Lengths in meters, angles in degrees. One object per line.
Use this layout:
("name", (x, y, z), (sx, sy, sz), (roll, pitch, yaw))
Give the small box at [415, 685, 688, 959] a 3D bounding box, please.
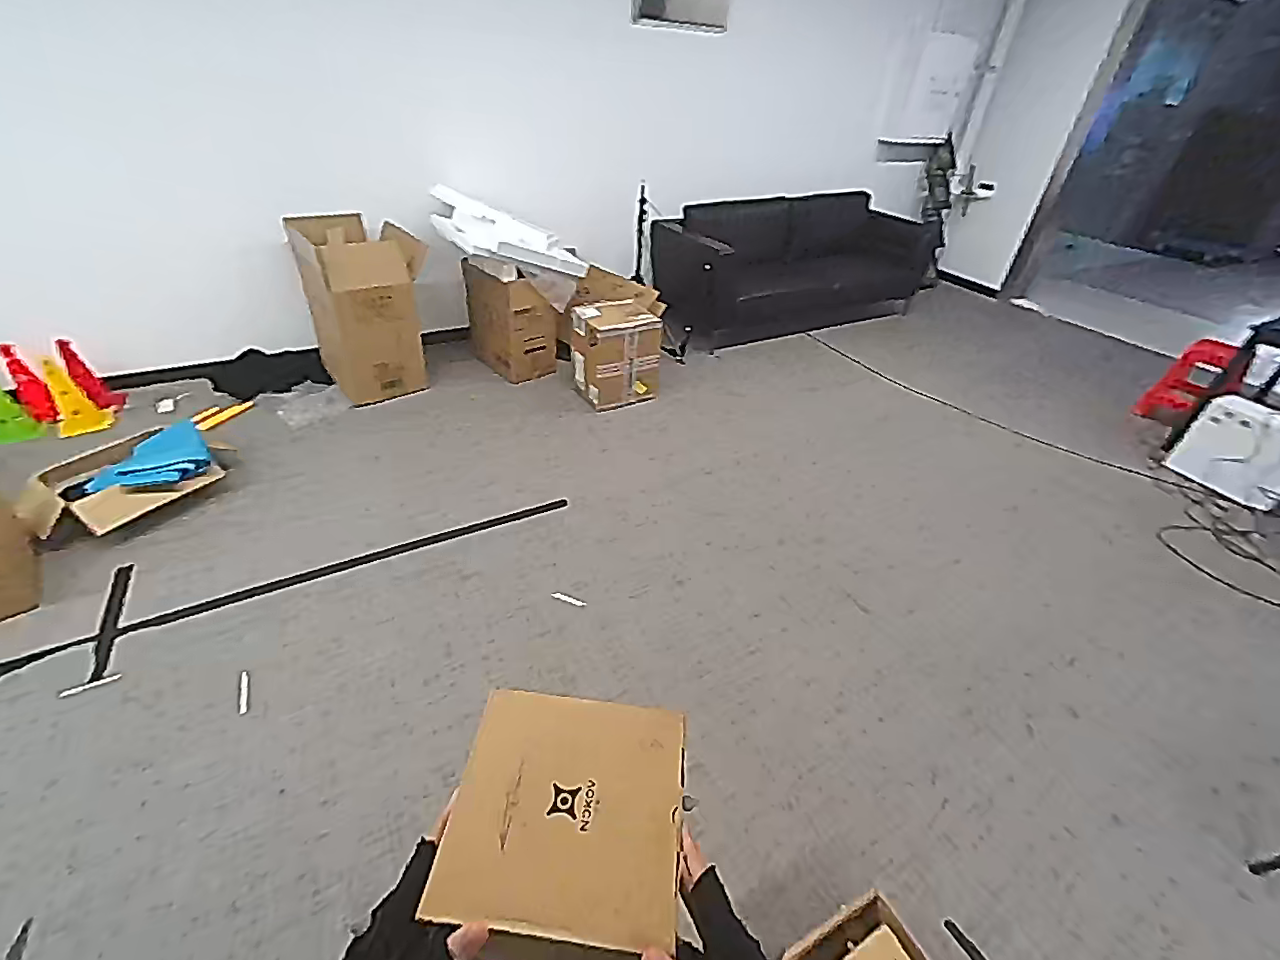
("small box", (-0.056, 0.301, 0.459), (0.179, 0.176, 0.168), (4, 39, 3))
